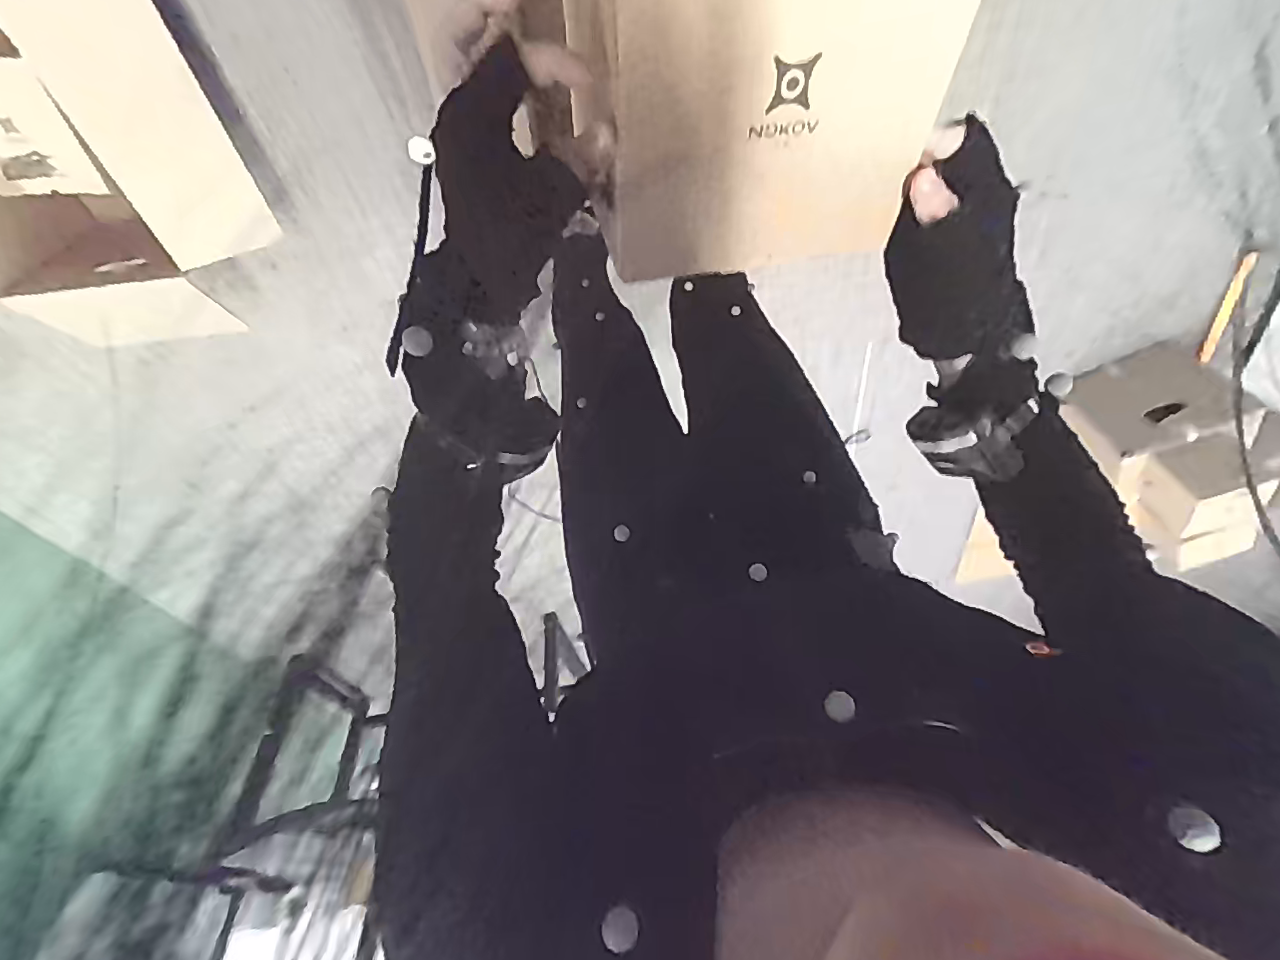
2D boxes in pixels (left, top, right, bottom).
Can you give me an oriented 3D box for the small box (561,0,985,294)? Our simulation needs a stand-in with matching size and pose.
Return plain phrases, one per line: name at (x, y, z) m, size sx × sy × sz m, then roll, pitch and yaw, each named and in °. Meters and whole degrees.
small box at (0.049, -0.234, 0.294) m, size 0.168 × 0.176 × 0.179 m, roll -10°, pitch 144°, yaw -7°
